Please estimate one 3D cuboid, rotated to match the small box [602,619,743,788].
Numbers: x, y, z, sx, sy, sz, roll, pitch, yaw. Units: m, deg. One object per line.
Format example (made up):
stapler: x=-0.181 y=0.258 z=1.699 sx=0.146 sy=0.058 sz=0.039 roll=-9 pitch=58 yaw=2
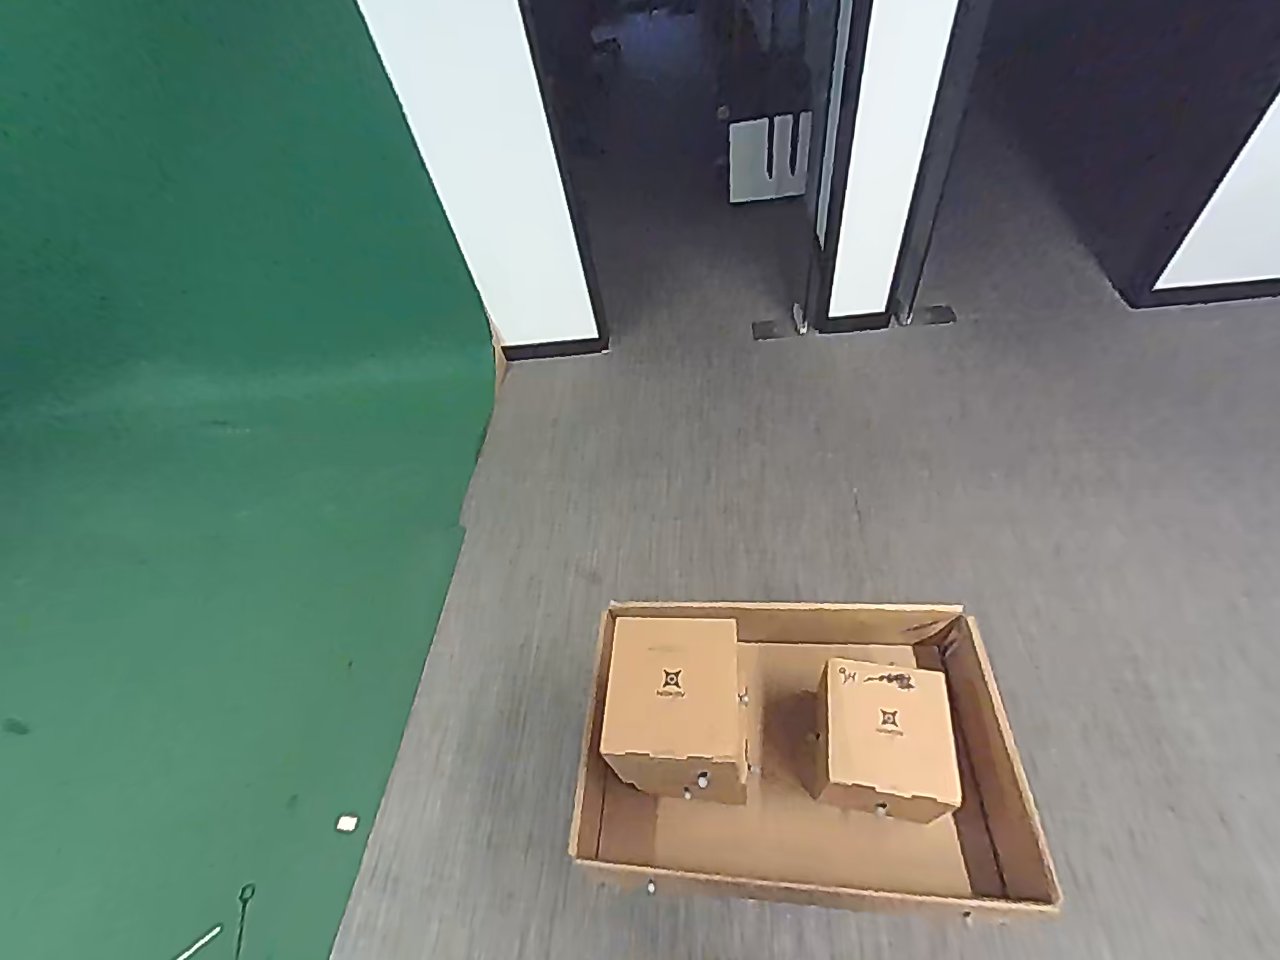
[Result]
small box: x=0.055 y=0.309 z=0.744 sx=0.168 sy=0.176 sz=0.179 roll=-2 pitch=50 yaw=11
